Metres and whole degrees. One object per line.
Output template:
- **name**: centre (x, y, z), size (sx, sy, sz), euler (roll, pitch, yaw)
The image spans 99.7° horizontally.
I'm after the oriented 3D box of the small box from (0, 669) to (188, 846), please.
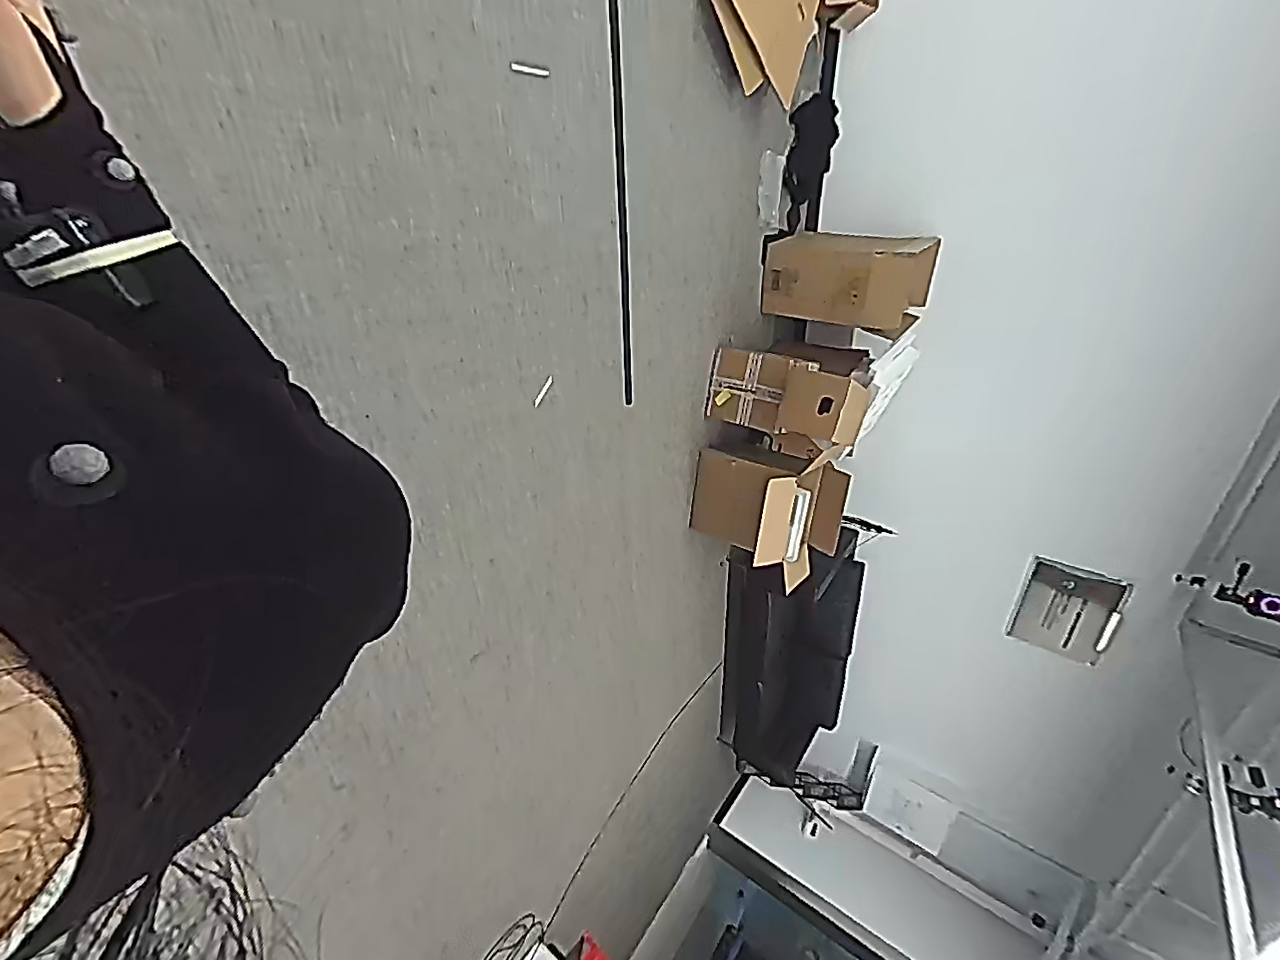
- **small box**: centre (-0.939, 0.463, 0.931), size (0.179, 0.176, 0.168), euler (-33, 129, -43)
